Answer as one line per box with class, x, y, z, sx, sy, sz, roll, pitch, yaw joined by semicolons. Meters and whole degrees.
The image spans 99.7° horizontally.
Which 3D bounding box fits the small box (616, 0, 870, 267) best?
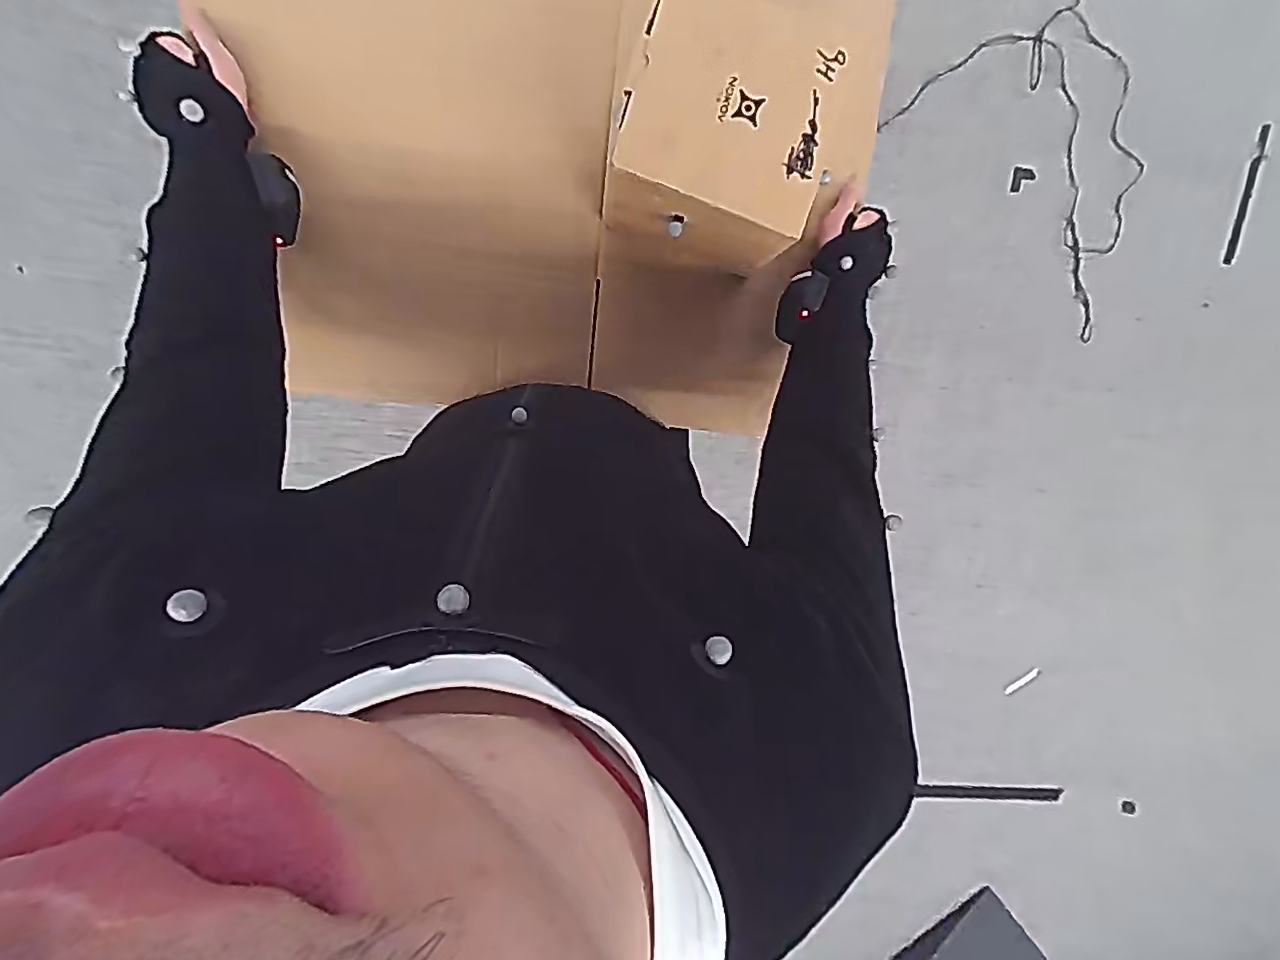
small box;0.081;-0.329;0.530;0.179;0.176;0.168;18;98;-6
